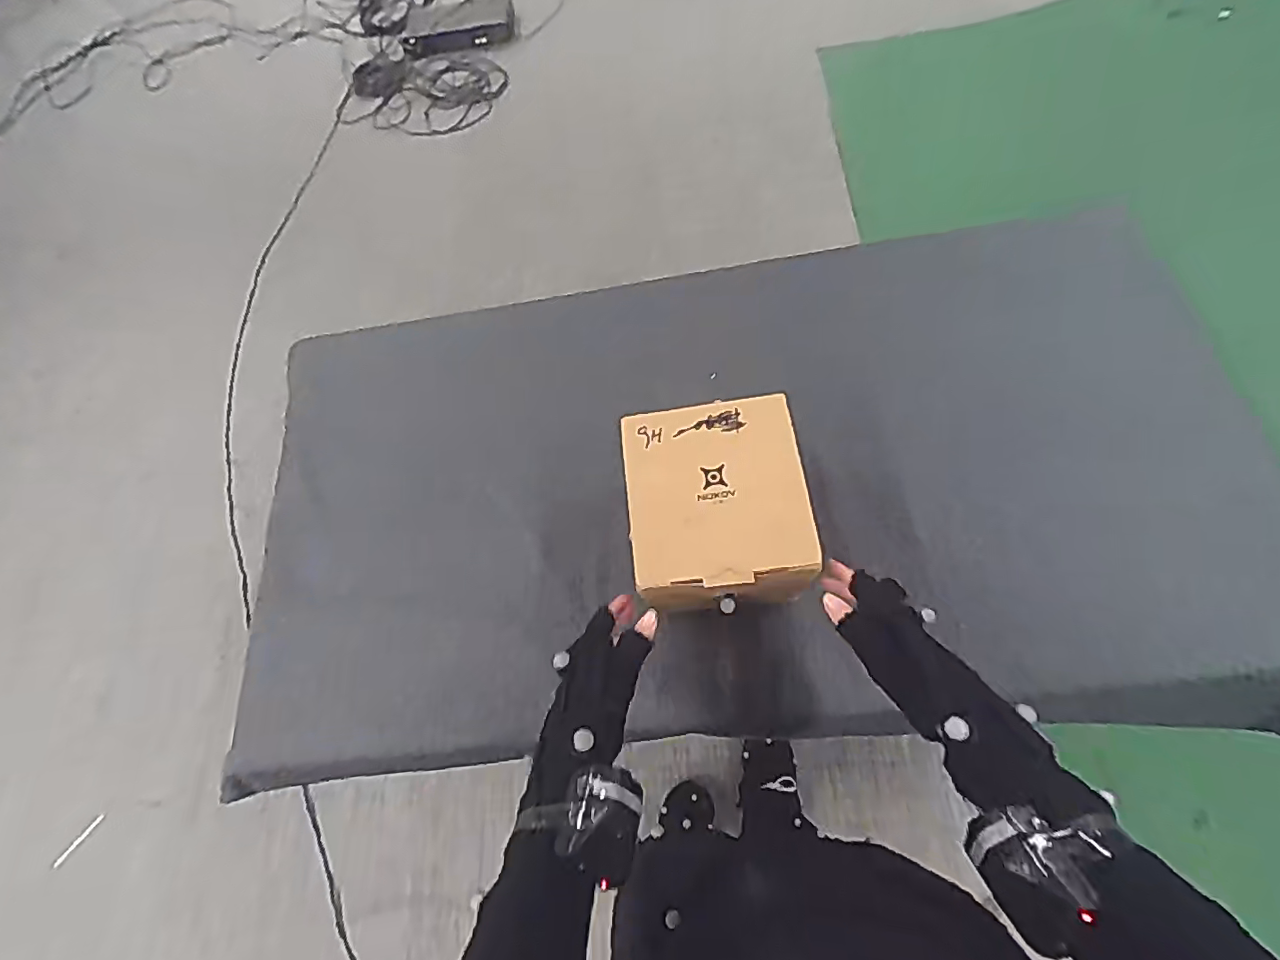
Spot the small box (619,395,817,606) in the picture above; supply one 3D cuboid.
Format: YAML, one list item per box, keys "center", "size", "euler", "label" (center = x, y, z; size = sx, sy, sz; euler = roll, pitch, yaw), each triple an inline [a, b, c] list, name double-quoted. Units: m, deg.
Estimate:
- center: [0.080, 0.035, 0.580]
  size: [0.168, 0.176, 0.179]
  euler: [-9, 69, 6]
  label: "small box"
